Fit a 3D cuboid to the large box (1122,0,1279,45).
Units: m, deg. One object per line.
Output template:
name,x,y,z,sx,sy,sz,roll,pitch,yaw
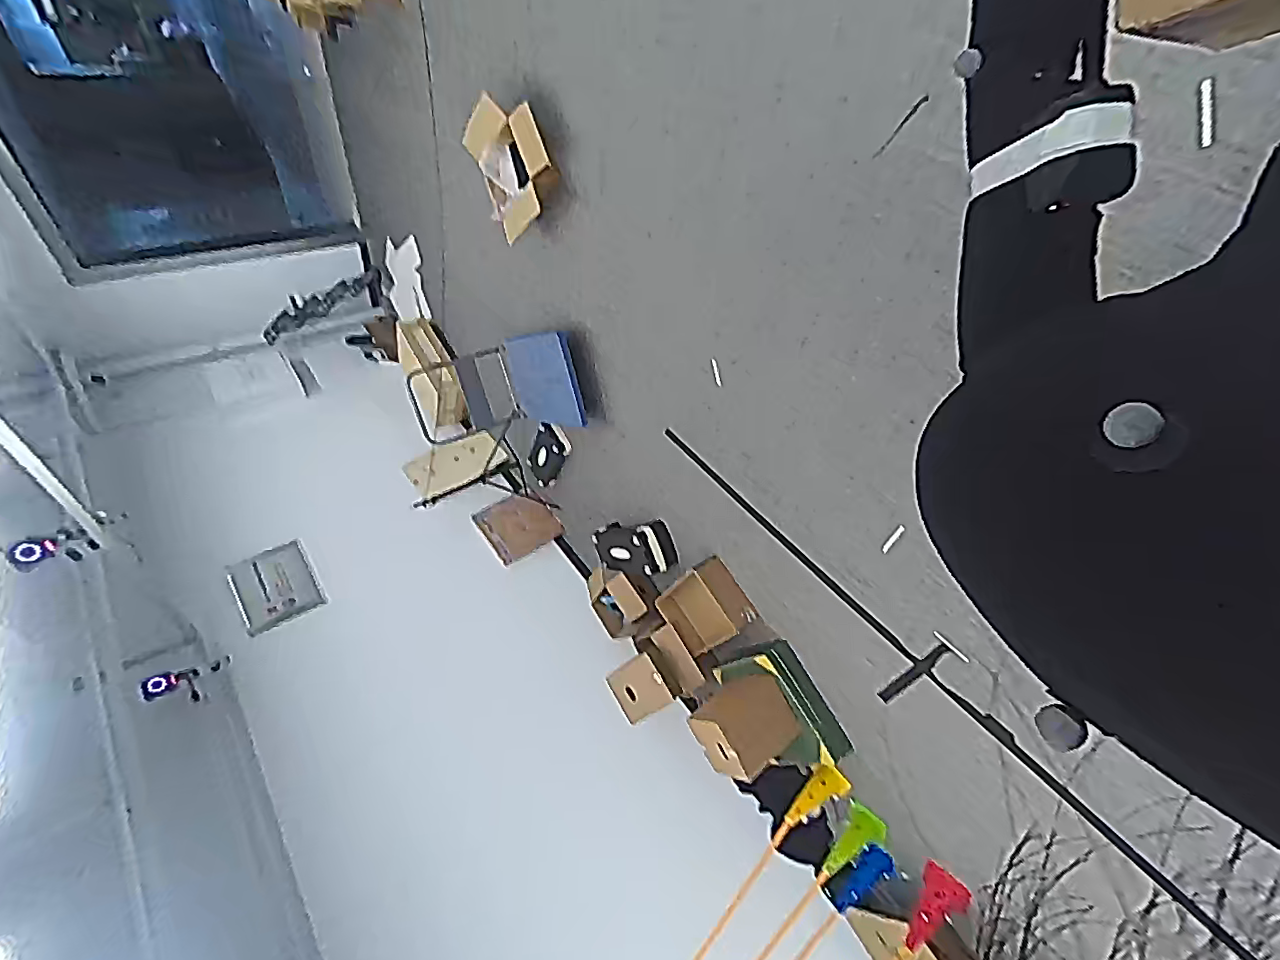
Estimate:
large box,0.493,-0.435,0.201,0.408,0.320,0.320,14,123,50
